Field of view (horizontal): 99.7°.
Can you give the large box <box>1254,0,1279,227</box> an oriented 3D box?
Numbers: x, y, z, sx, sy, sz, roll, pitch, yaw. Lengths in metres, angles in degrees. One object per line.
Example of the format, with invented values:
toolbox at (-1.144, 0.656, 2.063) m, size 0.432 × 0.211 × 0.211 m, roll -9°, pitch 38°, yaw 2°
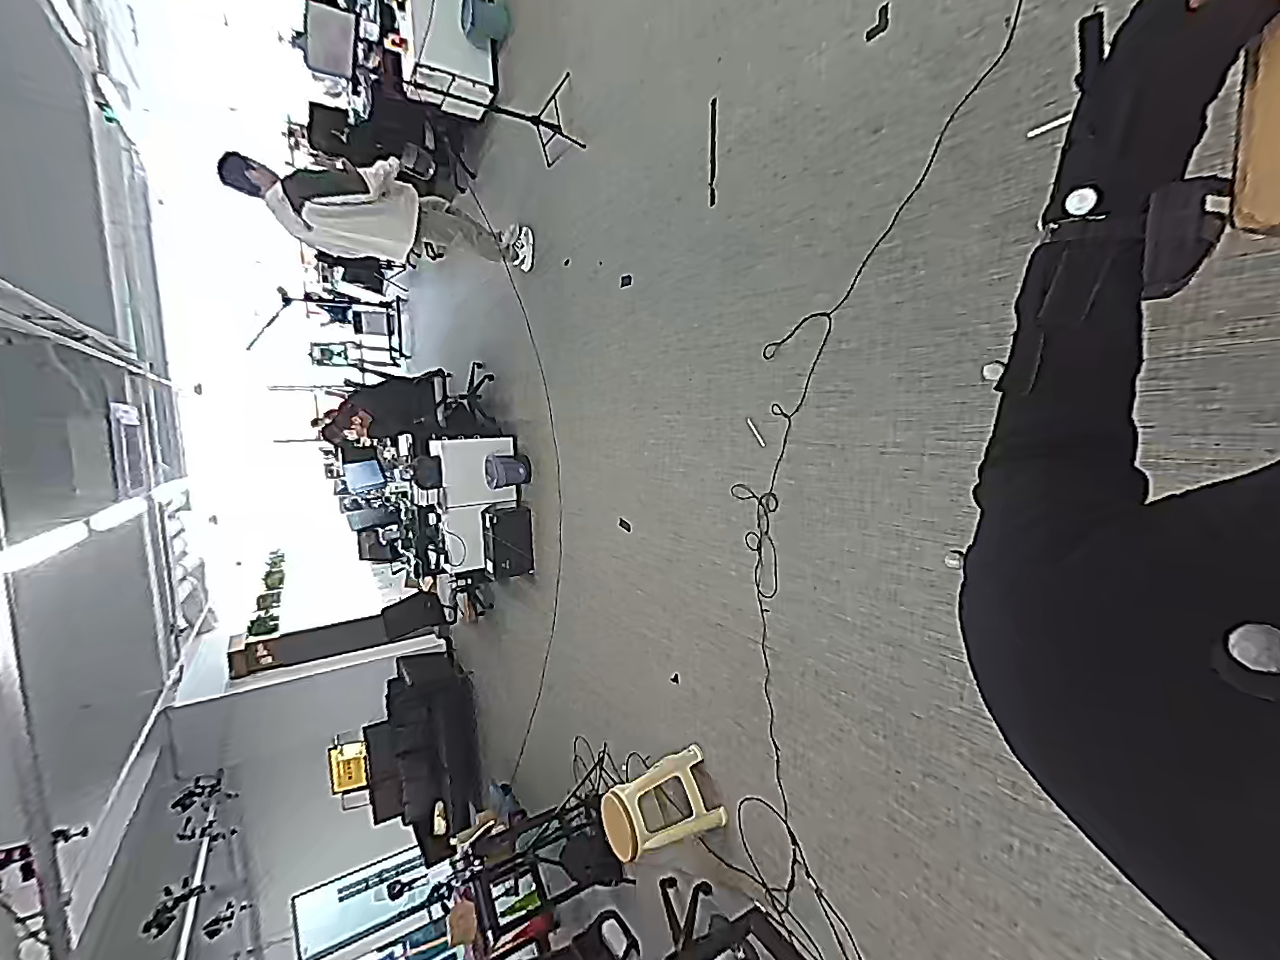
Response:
large box at (0.574, -0.311, 0.209) m, size 0.408 × 0.320 × 0.320 m, roll 10°, pitch 110°, yaw 56°
